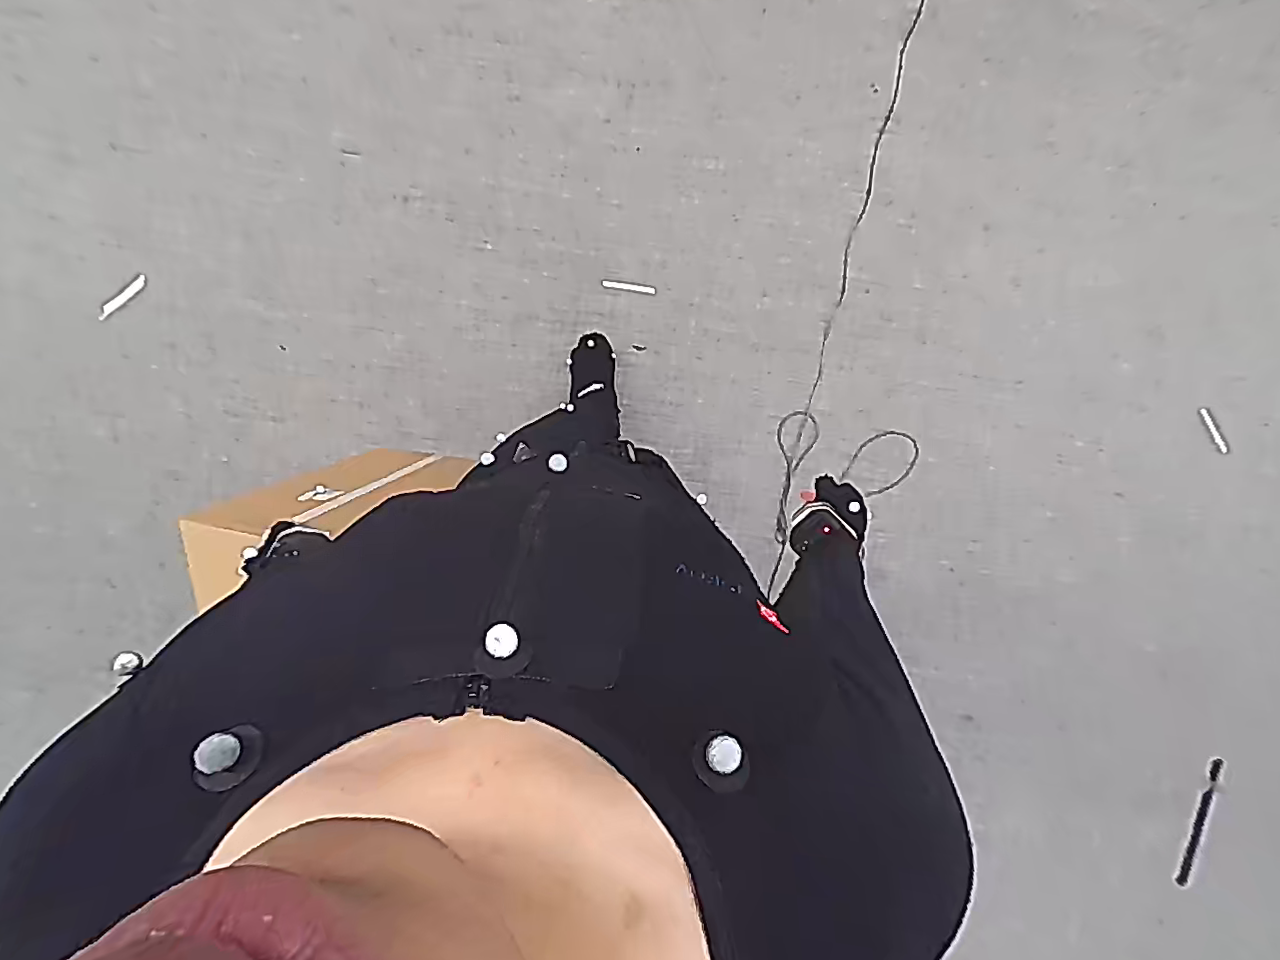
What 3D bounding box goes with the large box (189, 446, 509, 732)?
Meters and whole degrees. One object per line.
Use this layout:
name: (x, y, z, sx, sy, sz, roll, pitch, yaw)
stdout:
large box: (-0.459, 0.155, 0.964, 0.320, 0.408, 0.320, 8, 110, 13)
